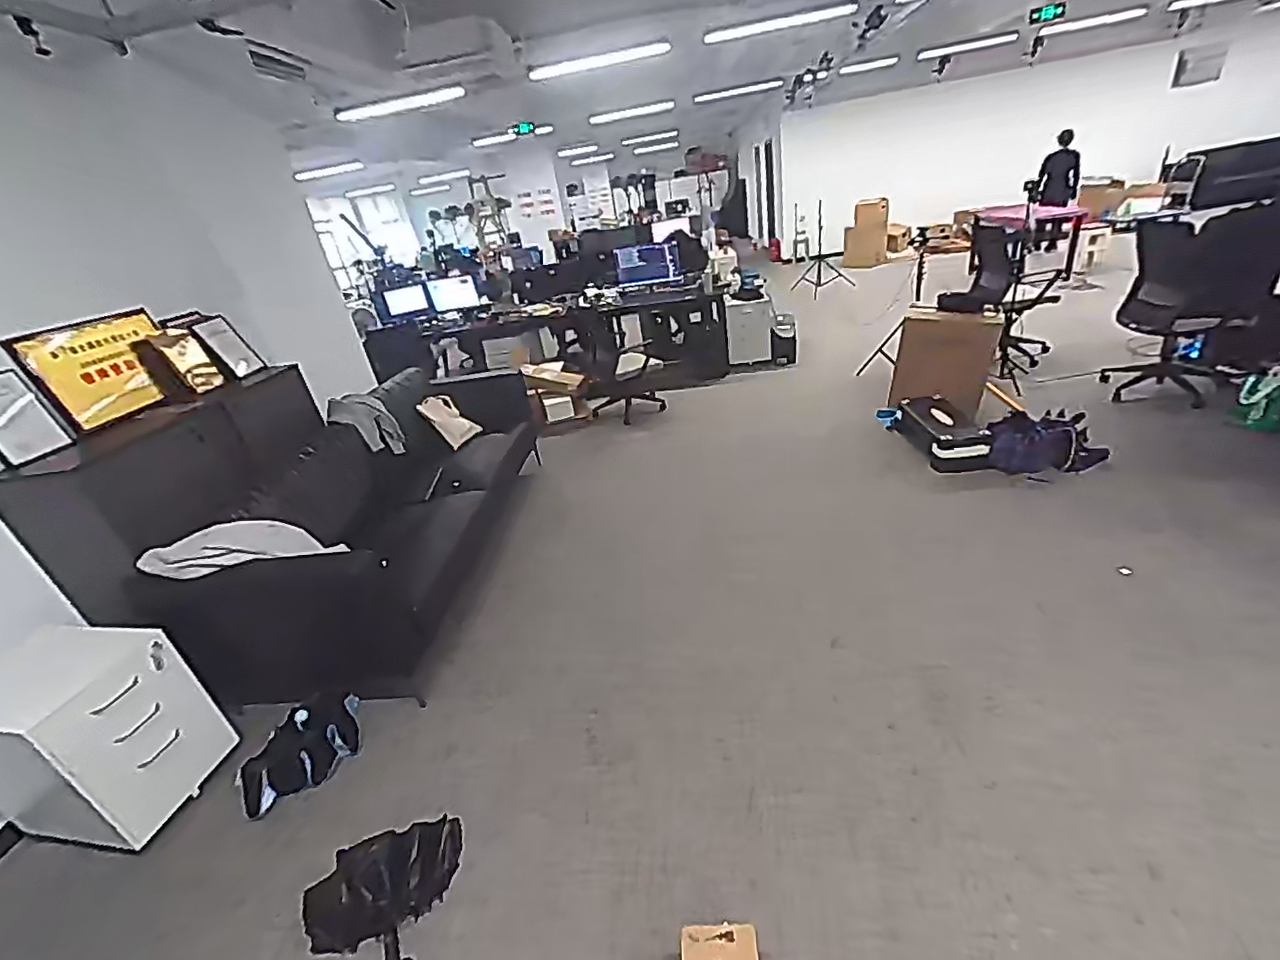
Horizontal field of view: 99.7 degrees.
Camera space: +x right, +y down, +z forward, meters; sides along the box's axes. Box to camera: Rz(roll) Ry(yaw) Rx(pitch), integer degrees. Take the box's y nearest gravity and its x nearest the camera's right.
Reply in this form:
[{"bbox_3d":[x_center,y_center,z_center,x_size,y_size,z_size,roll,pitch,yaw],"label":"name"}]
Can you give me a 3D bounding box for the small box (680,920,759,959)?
[{"bbox_3d":[0.181,1.099,1.174,0.168,0.176,0.179,-7,30,6],"label":"small box"}]
